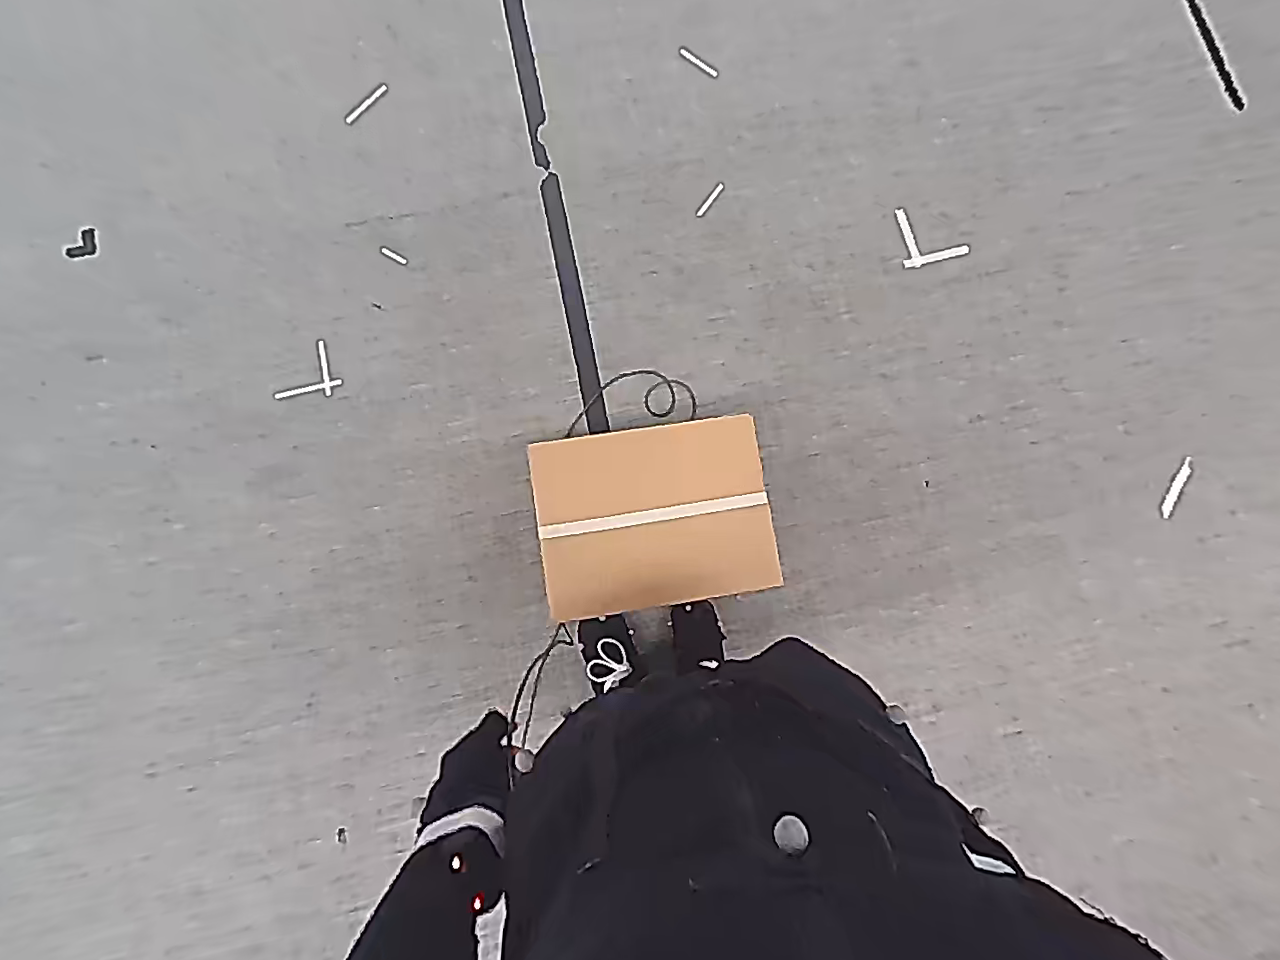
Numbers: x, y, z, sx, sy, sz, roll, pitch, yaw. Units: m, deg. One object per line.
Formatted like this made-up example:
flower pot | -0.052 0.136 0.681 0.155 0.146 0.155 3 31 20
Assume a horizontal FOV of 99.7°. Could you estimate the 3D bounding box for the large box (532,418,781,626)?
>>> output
large box | 0.023 0.087 1.092 0.408 0.320 0.320 -8 82 -4
